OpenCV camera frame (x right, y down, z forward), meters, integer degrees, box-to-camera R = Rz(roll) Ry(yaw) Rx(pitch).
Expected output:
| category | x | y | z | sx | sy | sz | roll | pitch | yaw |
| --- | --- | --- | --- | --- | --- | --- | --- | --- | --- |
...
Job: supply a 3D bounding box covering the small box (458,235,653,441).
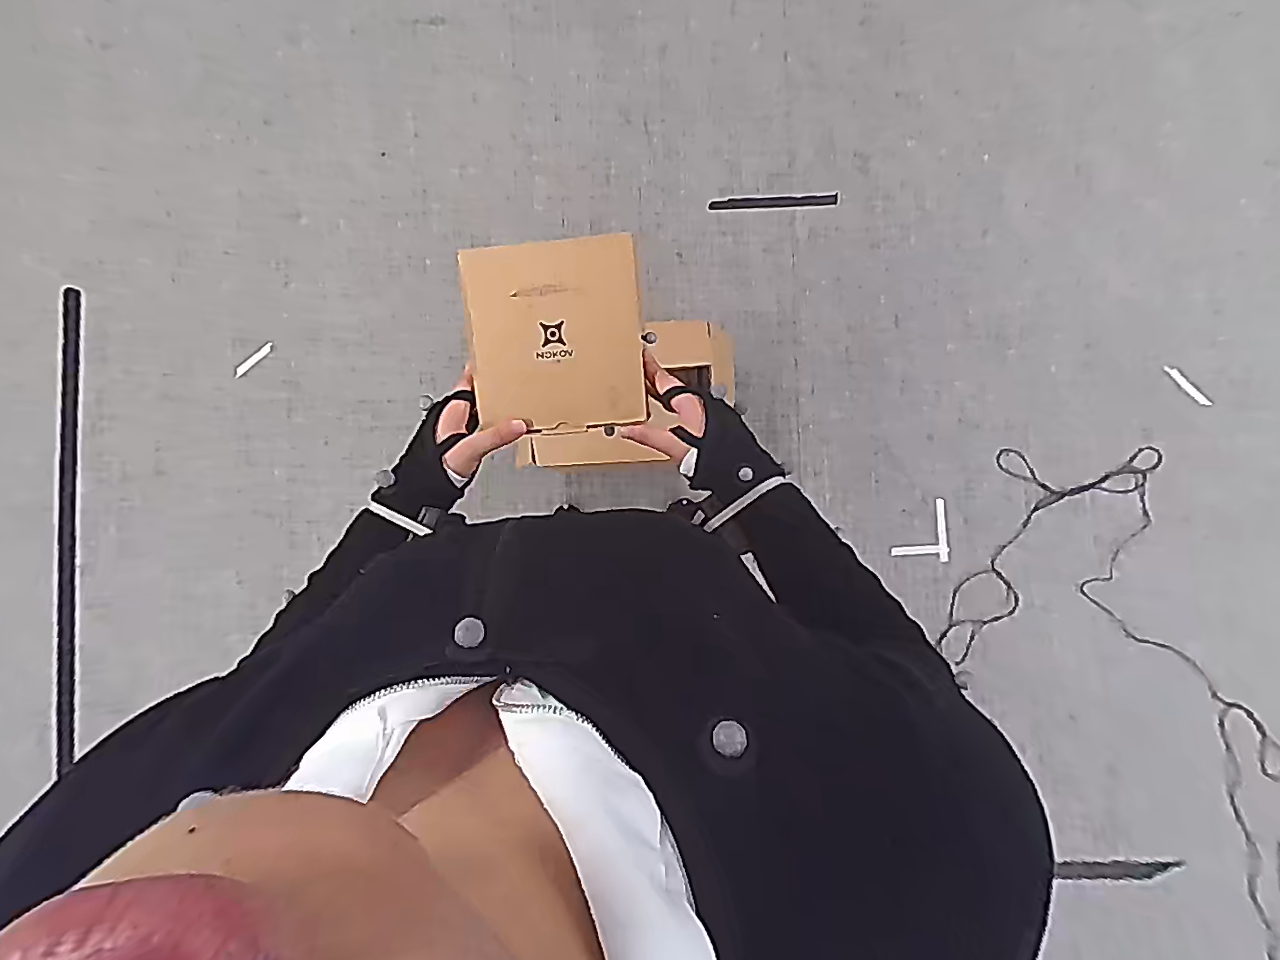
| category | x | y | z | sx | sy | sz | roll | pitch | yaw |
| --- | --- | --- | --- | --- | --- | --- | --- | --- | --- |
| small box | -0.075 | -0.144 | 0.580 | 0.168 | 0.176 | 0.179 | -5 | 100 | 3 |
